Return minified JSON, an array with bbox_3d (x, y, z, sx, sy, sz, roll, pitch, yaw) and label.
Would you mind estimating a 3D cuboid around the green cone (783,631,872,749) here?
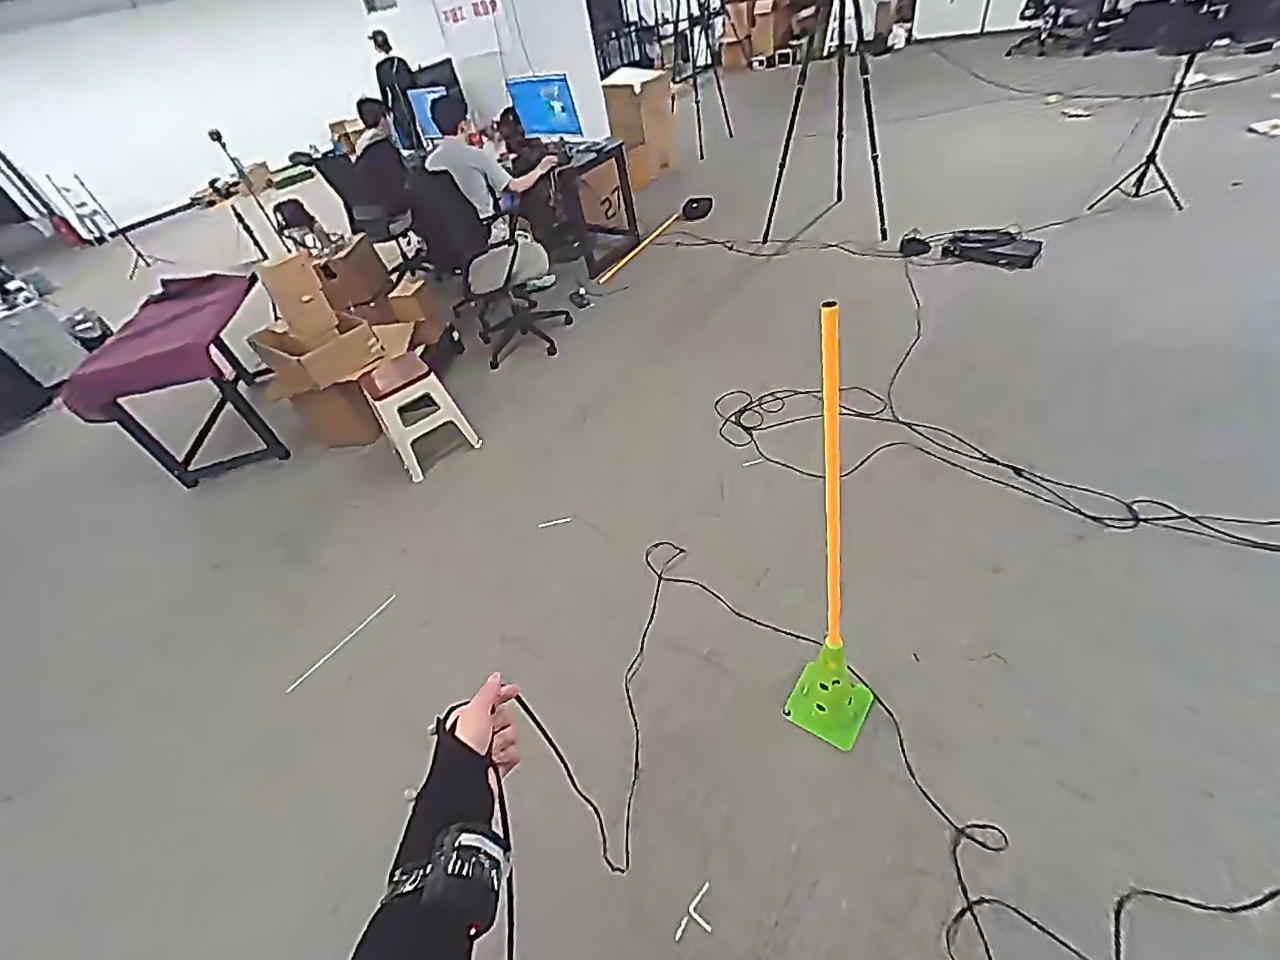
[{"bbox_3d":[0.508,0.517,1.435,0.200,0.368,0.202,20,52,32],"label":"green cone"}]
